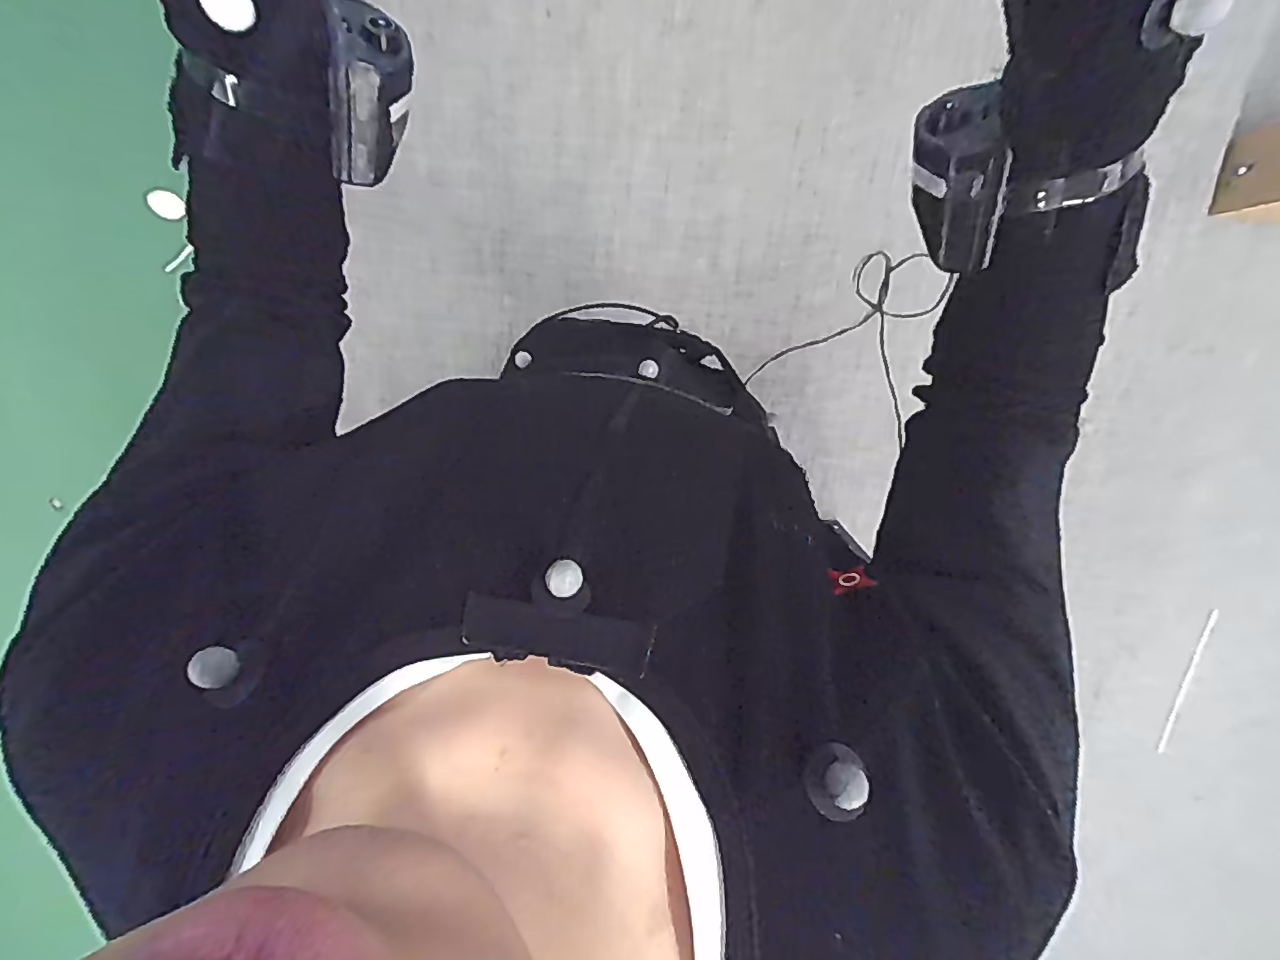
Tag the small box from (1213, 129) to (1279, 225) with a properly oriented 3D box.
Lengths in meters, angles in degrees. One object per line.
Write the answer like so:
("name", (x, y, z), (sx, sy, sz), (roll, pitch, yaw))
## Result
("small box", (1.401, -0.647, 1.139), (0.179, 0.176, 0.168), (6, 105, 2))
